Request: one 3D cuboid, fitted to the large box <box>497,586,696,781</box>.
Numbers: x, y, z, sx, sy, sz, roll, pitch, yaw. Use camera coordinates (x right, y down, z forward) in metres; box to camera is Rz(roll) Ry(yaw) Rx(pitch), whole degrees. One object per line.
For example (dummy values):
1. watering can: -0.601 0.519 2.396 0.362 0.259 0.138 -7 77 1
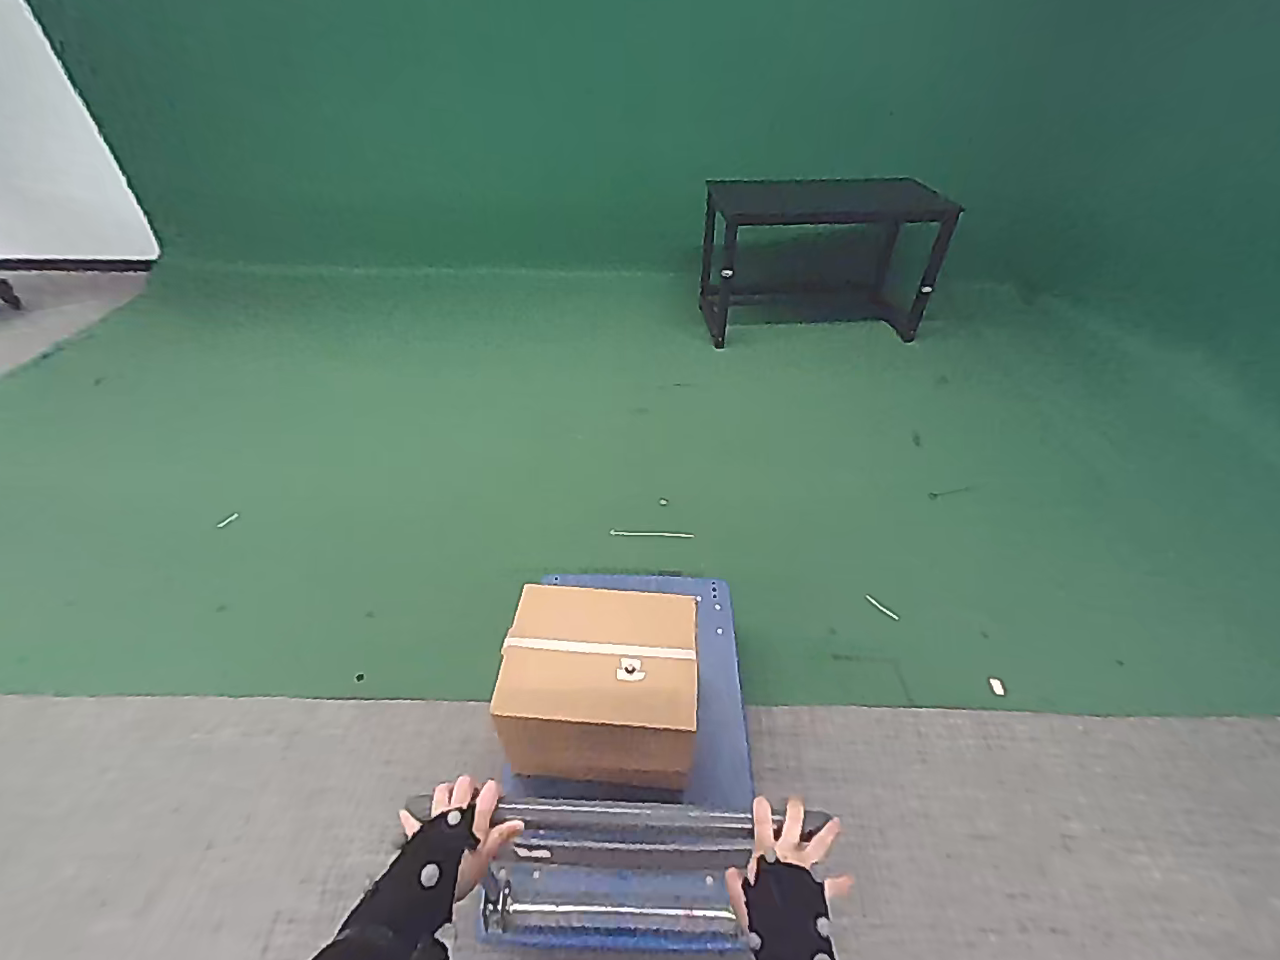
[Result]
1. large box: -0.086 0.476 1.270 0.408 0.320 0.320 4 42 2
